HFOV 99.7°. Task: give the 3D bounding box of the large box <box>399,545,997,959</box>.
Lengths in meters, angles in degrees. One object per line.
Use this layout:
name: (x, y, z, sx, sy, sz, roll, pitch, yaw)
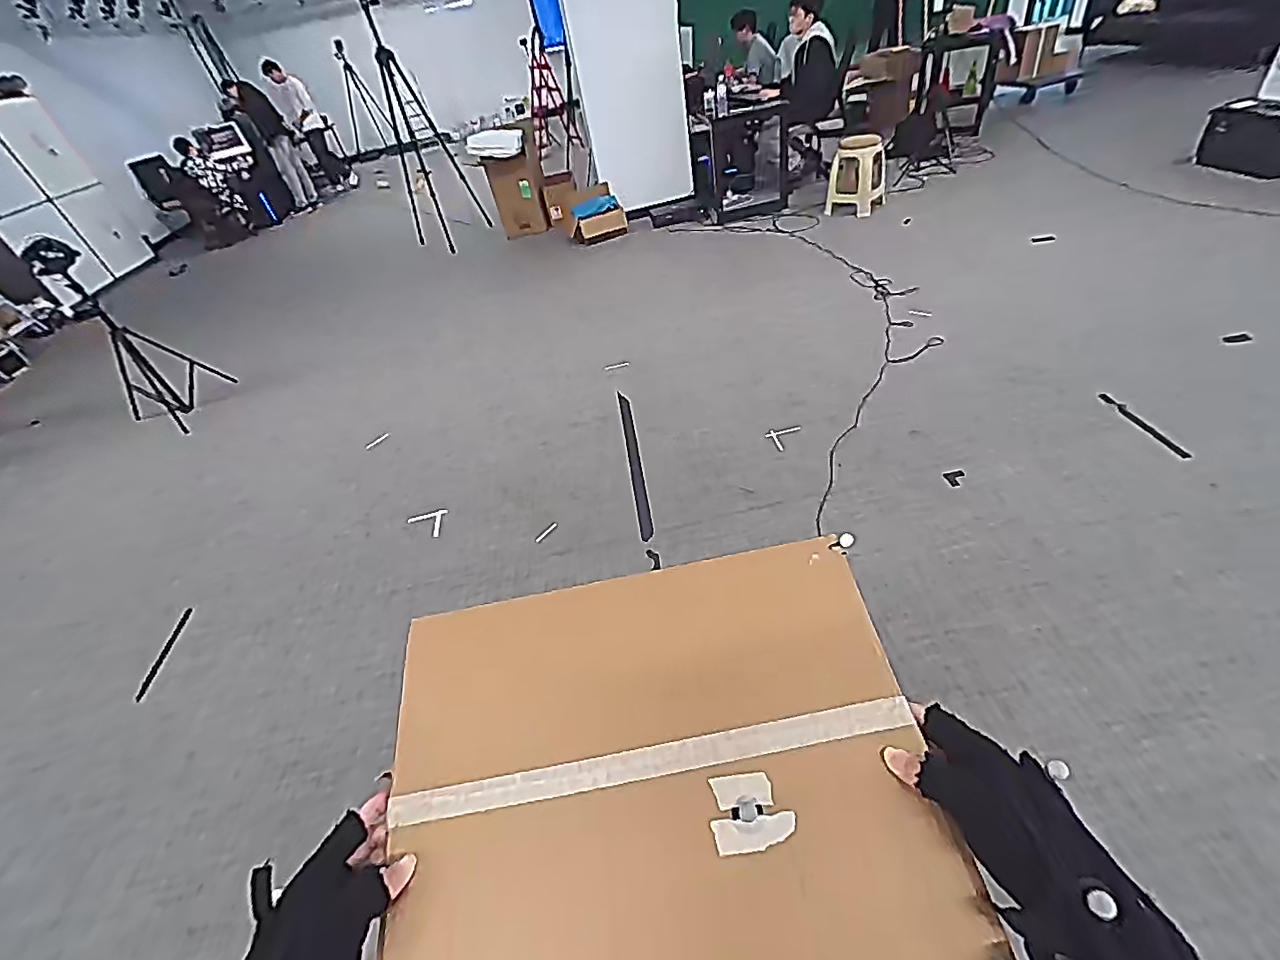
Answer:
large box: (0.029, 0.310, 0.549, 0.408, 0.320, 0.320, -12, 55, 1)
